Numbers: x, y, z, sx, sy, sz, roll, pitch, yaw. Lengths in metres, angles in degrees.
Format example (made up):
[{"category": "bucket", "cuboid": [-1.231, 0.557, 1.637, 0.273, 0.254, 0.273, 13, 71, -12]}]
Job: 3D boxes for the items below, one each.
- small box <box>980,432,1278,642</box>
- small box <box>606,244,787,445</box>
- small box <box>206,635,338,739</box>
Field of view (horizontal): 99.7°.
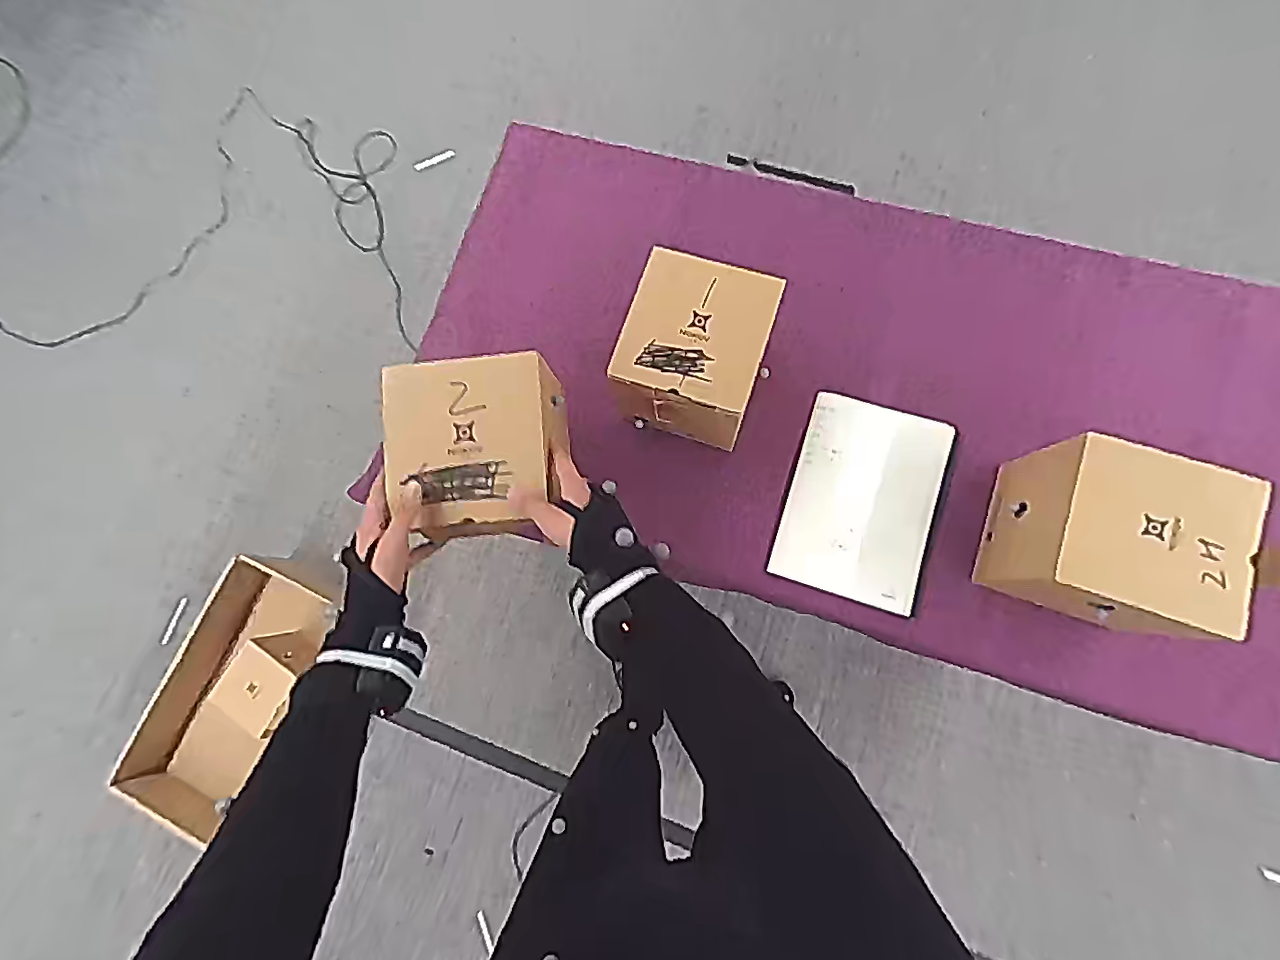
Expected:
[{"category": "small box", "cuboid": [0.525, 0.067, 0.609, 0.179, 0.176, 0.168, 19, 82, 8]}, {"category": "small box", "cuboid": [0.073, -0.160, 0.695, 0.168, 0.176, 0.179, 19, 81, 8]}, {"category": "small box", "cuboid": [-0.907, 0.505, 1.352, 0.179, 0.176, 0.168, 32, 84, 10]}]
